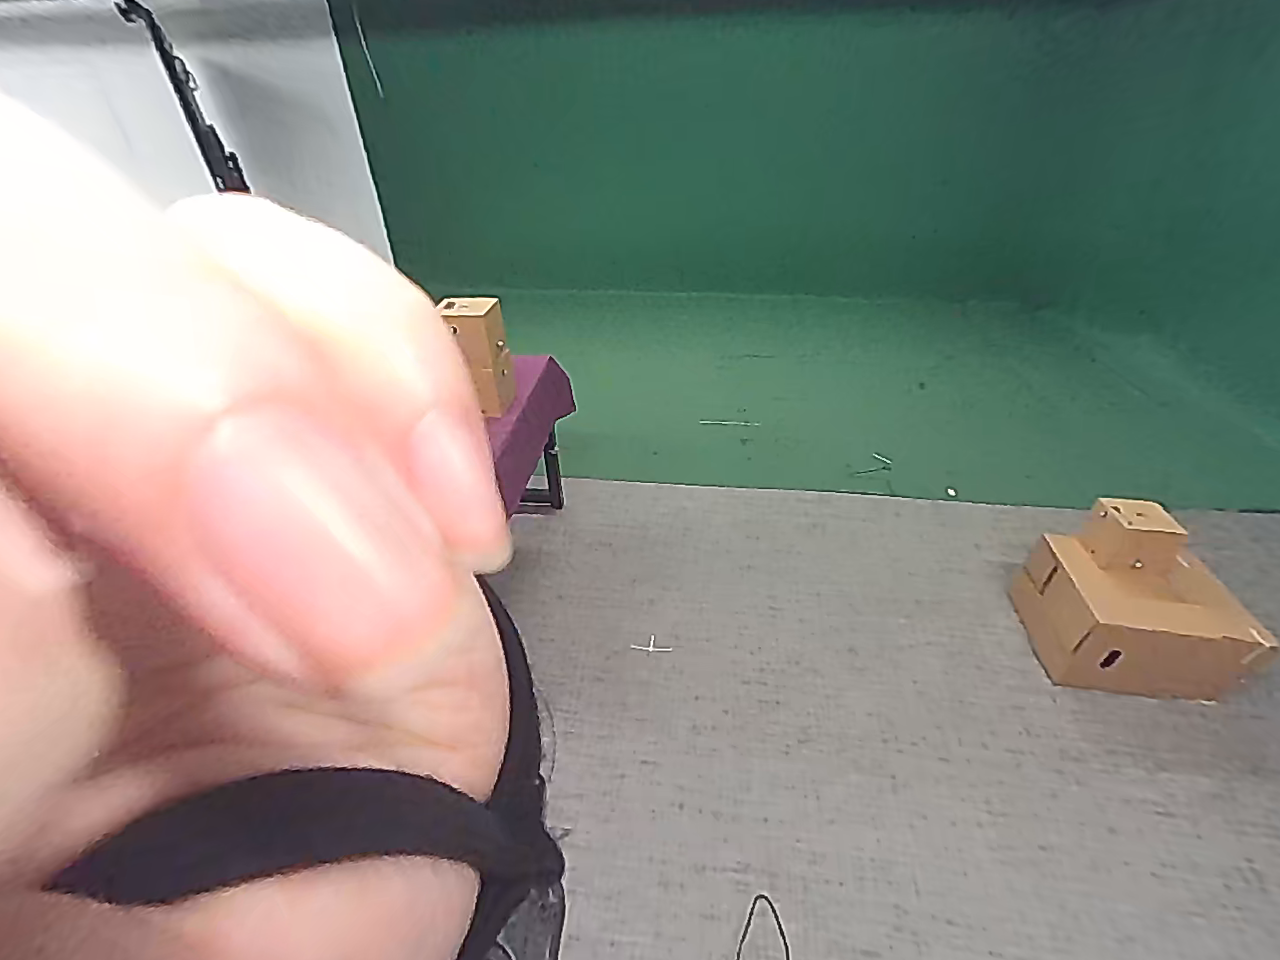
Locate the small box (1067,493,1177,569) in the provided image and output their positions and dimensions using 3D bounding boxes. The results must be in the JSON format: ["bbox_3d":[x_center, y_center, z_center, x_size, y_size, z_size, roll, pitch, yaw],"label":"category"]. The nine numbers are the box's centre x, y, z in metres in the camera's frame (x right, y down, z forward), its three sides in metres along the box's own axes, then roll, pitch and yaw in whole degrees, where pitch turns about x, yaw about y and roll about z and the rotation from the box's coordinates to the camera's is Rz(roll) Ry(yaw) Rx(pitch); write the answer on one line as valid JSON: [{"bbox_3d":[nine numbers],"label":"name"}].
[{"bbox_3d":[1.541,0.166,1.741,0.179,0.176,0.168,6,34,7],"label":"small box"}]

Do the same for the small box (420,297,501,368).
[{"bbox_3d":[-0.545,-0.454,1.666,0.179,0.176,0.168,1,36,3],"label":"small box"}]

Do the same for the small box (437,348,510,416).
[{"bbox_3d":[-0.533,-0.319,1.760,0.168,0.176,0.179,3,35,5],"label":"small box"}]
